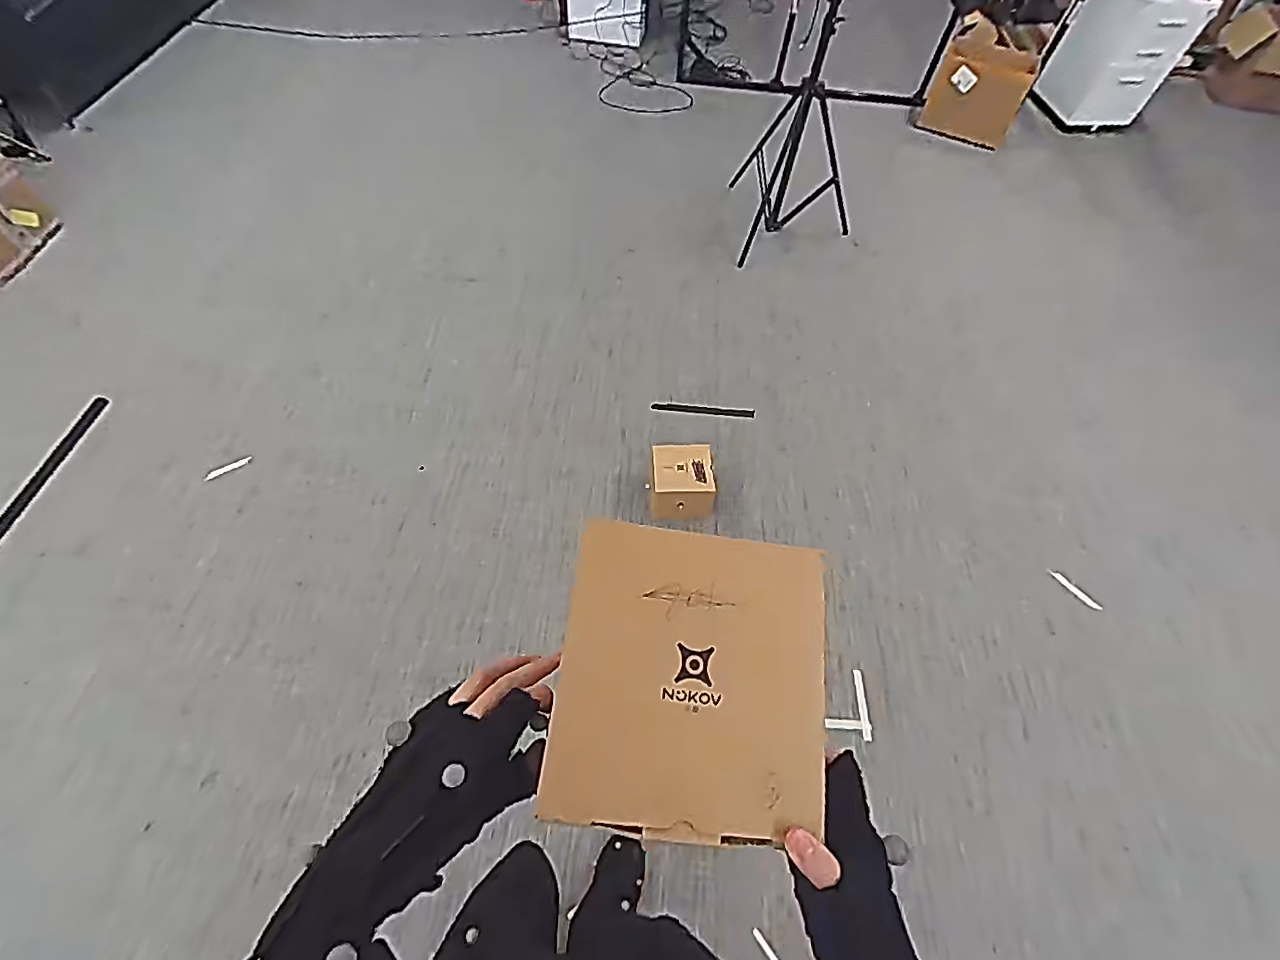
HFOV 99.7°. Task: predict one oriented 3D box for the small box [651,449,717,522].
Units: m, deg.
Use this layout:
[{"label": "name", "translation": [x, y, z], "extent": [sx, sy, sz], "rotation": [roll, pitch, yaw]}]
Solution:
[{"label": "small box", "translation": [0.127, 0.019, 1.641], "extent": [0.179, 0.176, 0.168], "rotation": [-1, 58, -3]}]
